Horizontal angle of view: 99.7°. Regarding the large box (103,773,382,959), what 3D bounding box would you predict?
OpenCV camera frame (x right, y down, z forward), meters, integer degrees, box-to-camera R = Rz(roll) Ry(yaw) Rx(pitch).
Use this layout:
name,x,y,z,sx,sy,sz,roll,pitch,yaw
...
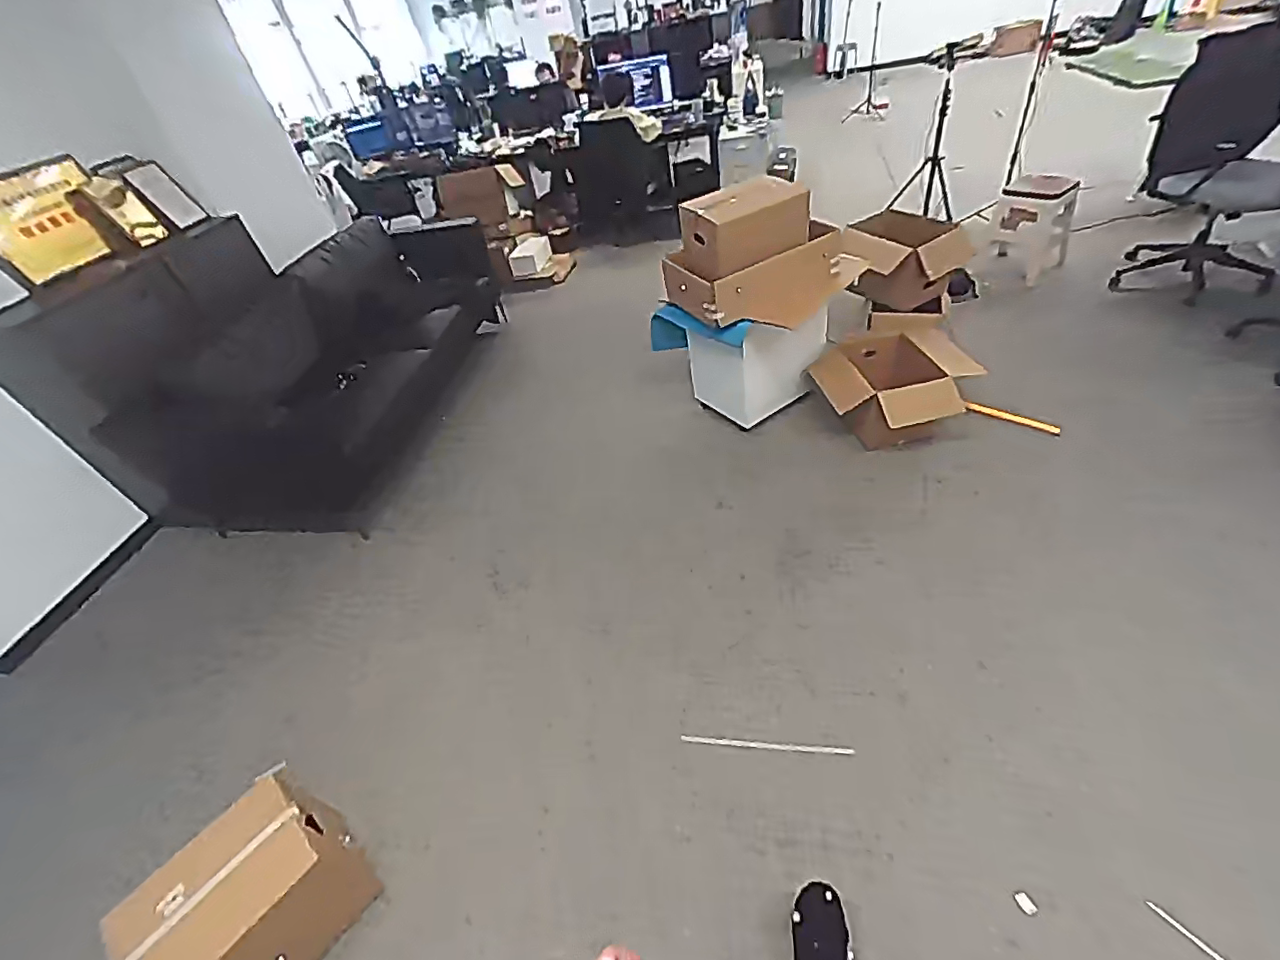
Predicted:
name,x,y,z,sx,sy,sz,roll,pitch,yaw
large box,-0.943,1.035,1.325,0.320,0.320,0.408,24,55,35
